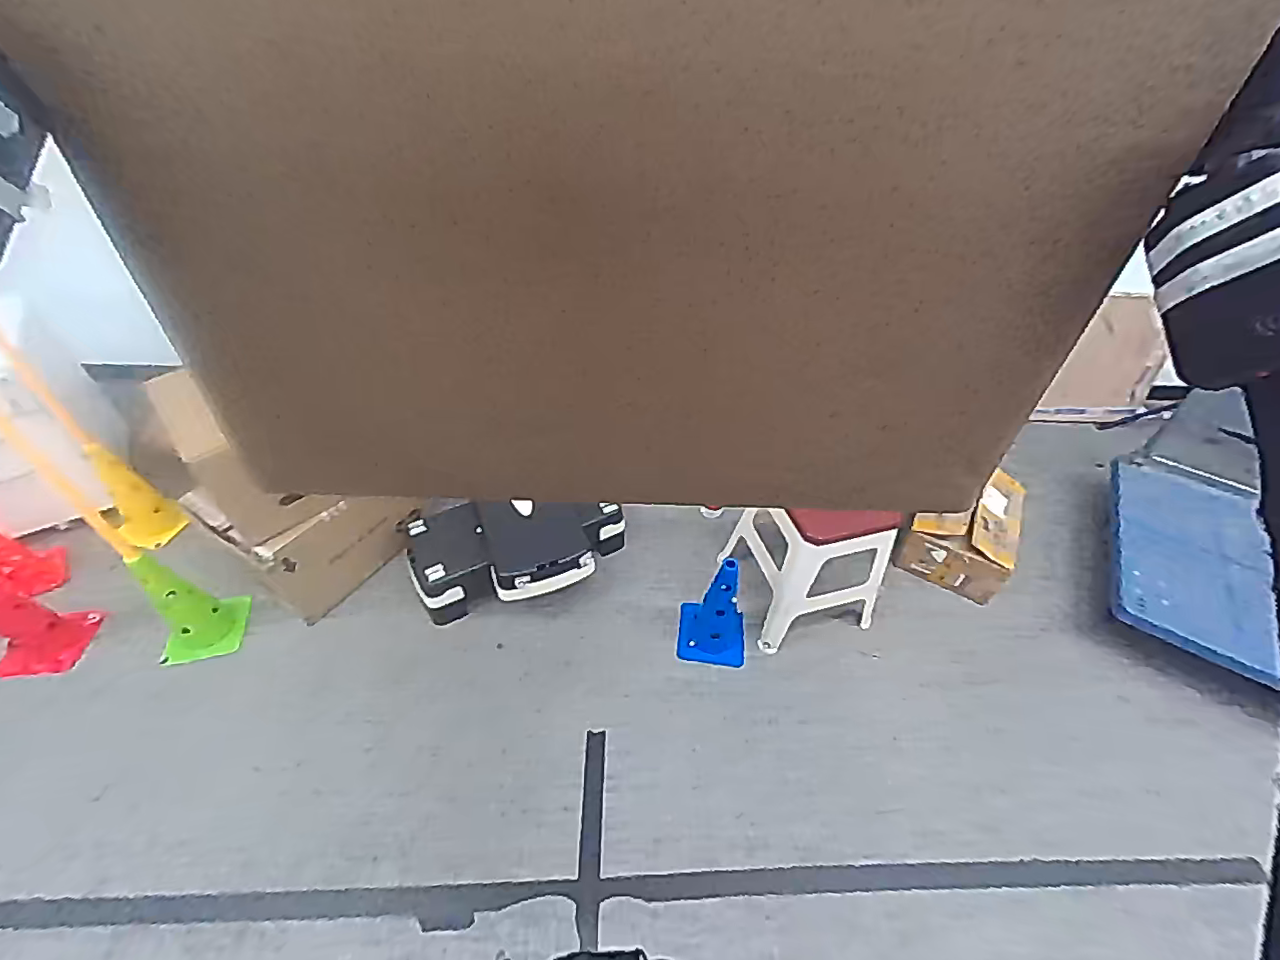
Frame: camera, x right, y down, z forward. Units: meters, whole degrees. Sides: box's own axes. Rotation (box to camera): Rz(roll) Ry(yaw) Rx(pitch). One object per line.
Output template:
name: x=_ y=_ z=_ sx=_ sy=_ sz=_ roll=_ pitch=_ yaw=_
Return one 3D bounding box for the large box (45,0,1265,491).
large box: x=0.001 y=-0.208 z=0.321 sx=0.408 sy=0.320 sz=0.320 roll=3 pitch=42 yaw=-3
